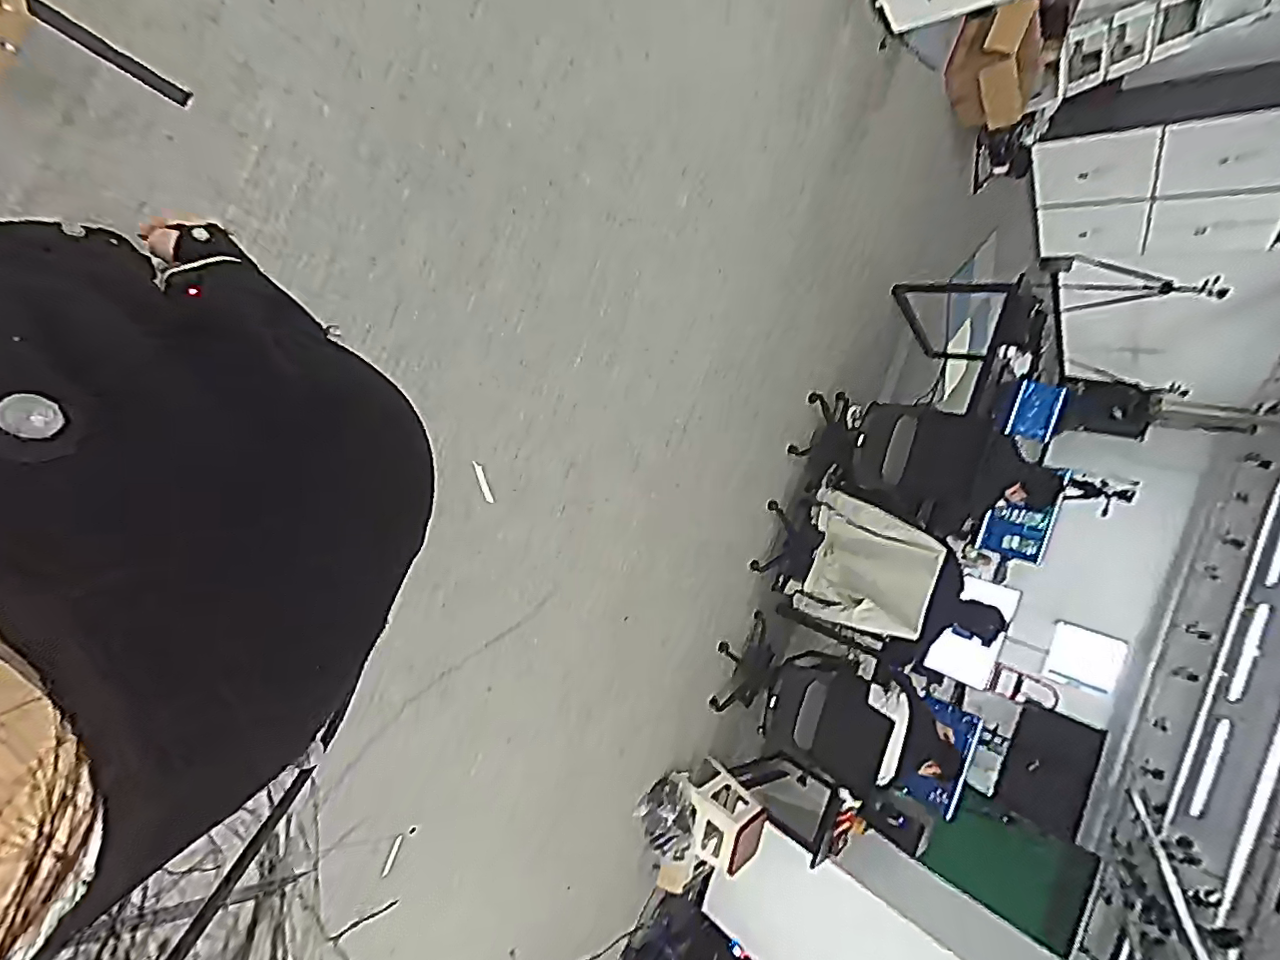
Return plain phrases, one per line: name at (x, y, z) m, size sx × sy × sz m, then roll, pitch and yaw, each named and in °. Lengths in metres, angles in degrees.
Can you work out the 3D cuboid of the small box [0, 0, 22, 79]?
small box at (-1.053, -0.708, 0.792) m, size 0.168 × 0.176 × 0.179 m, roll 21°, pitch 88°, yaw -49°
